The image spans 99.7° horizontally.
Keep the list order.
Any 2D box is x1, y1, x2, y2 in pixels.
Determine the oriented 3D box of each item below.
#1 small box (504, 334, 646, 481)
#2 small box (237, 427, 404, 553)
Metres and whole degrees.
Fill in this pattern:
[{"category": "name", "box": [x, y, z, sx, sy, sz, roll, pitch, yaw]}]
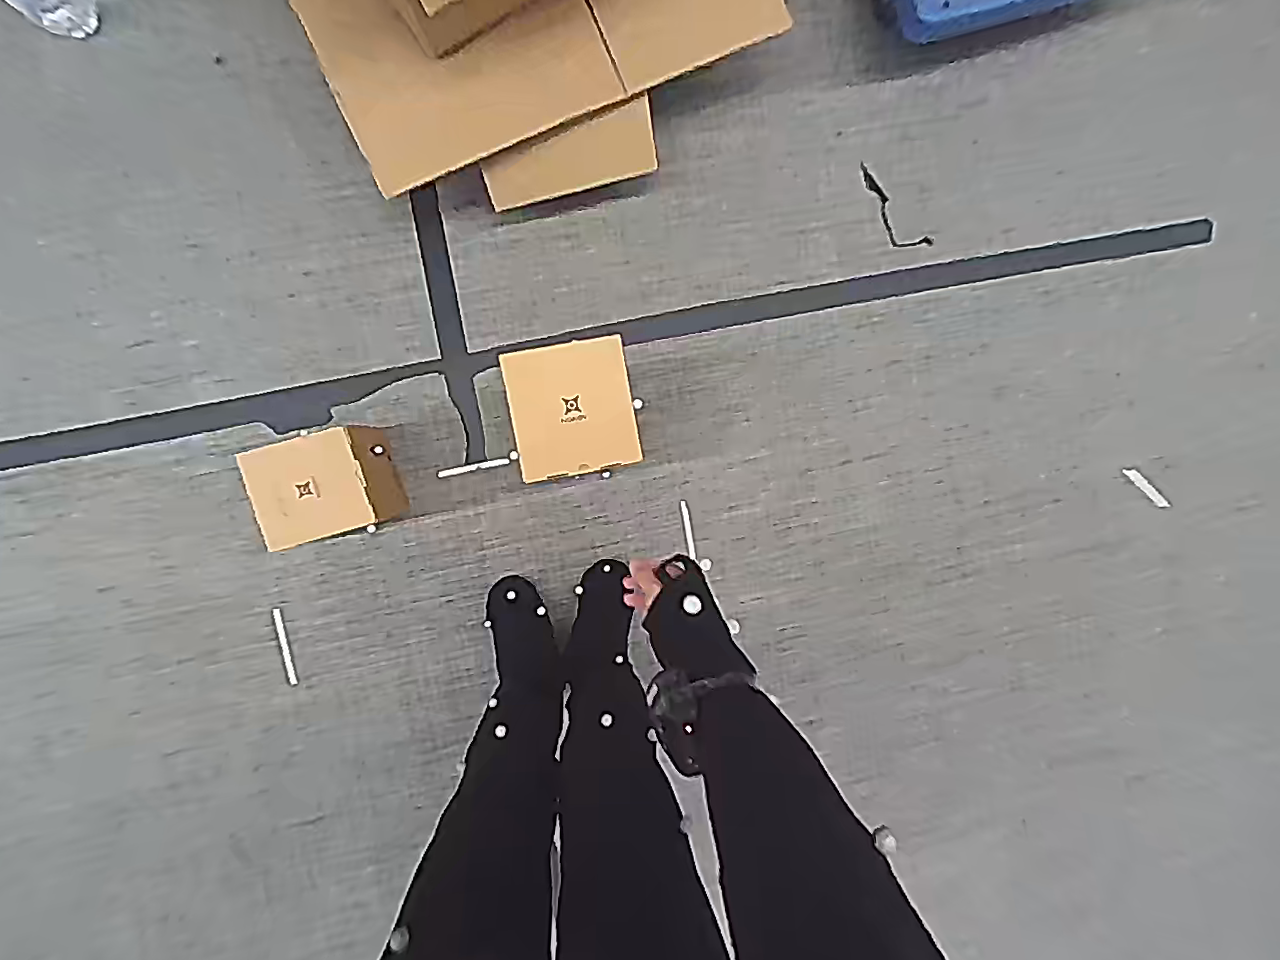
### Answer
[{"category": "small box", "box": [-0.096, -0.102, 0.799, 0.168, 0.176, 0.179, -11, 96, -6]}, {"category": "small box", "box": [-0.528, 0.009, 0.929, 0.179, 0.176, 0.168, -17, 95, -3]}]
